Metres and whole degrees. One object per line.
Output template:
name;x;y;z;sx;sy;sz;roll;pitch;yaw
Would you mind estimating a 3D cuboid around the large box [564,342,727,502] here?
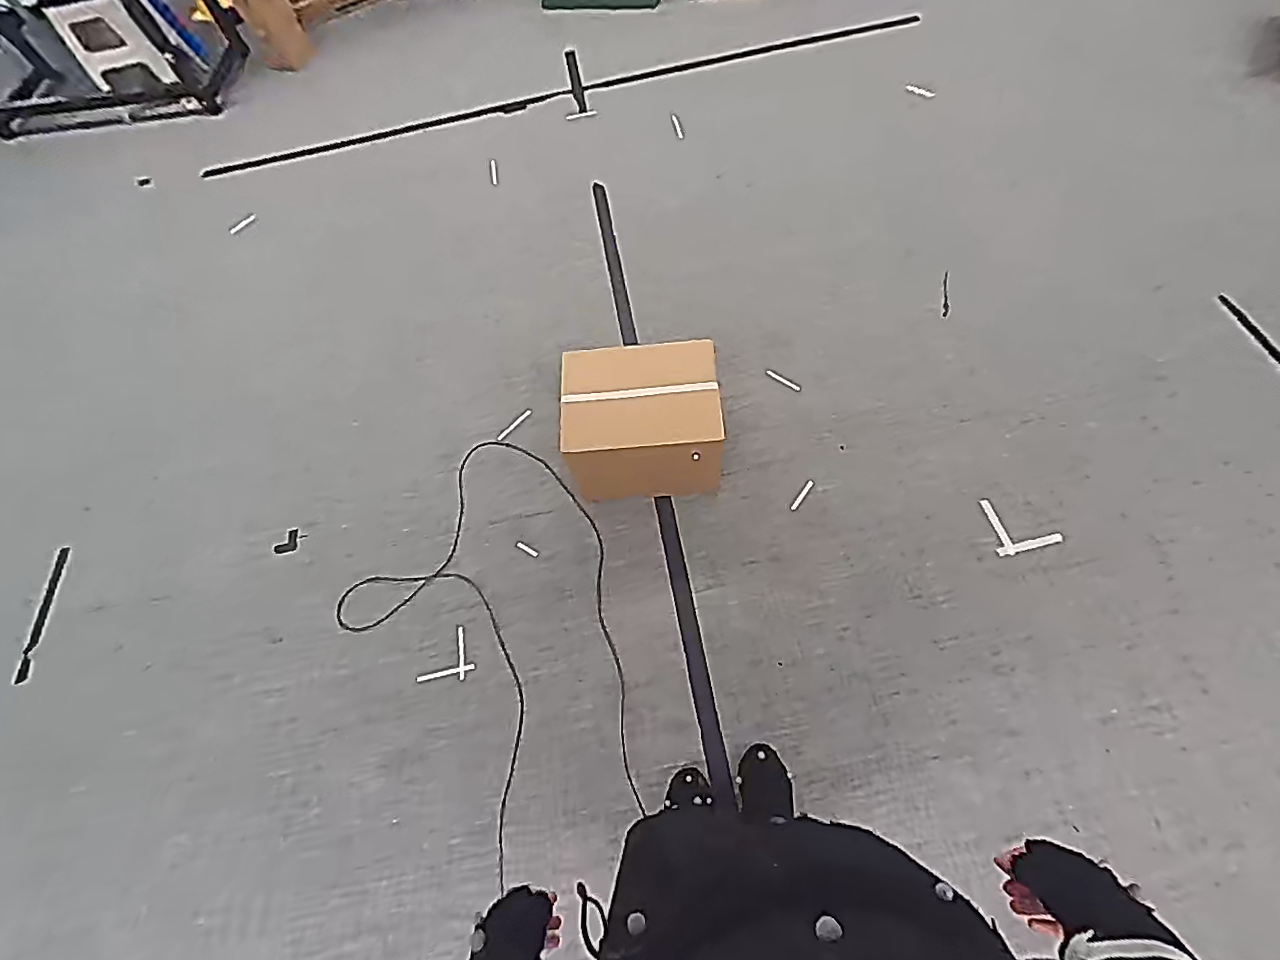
large box;0.016;-0.147;1.506;0.408;0.320;0.320;-5;64;3
